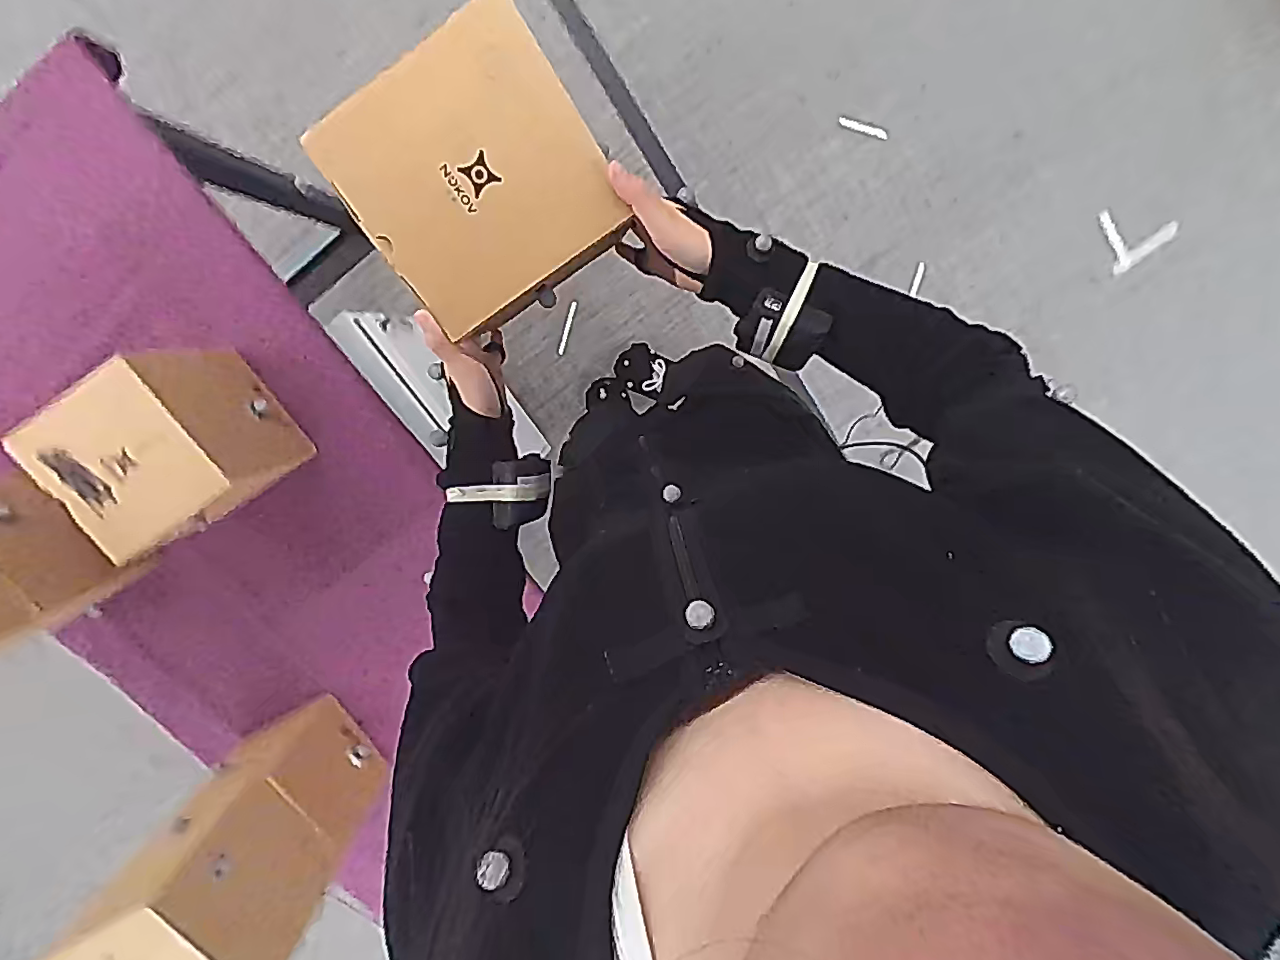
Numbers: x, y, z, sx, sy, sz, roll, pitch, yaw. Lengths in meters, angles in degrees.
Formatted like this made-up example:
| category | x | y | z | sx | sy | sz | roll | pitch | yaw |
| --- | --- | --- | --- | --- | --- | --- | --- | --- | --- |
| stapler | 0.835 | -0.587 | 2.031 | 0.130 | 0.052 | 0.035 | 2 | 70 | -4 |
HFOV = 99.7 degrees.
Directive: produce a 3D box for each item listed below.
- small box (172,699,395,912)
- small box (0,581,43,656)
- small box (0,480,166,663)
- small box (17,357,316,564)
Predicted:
| category | x | y | z | sx | sy | sz | roll | pitch | yaw |
| --- | --- | --- | --- | --- | --- | --- | --- | --- | --- |
| small box | -0.502 | 0.465 | 0.793 | 0.179 | 0.176 | 0.168 | -30 | 104 | 5 |
| small box | -0.787 | 0.157 | 0.536 | 0.168 | 0.176 | 0.179 | -31 | 104 | 6 |
| small box | -0.790 | 0.114 | 0.694 | 0.168 | 0.176 | 0.179 | -32 | 104 | 7 |
| small box | -0.549 | -0.033 | 0.657 | 0.179 | 0.176 | 0.168 | -32 | 104 | 8 |
